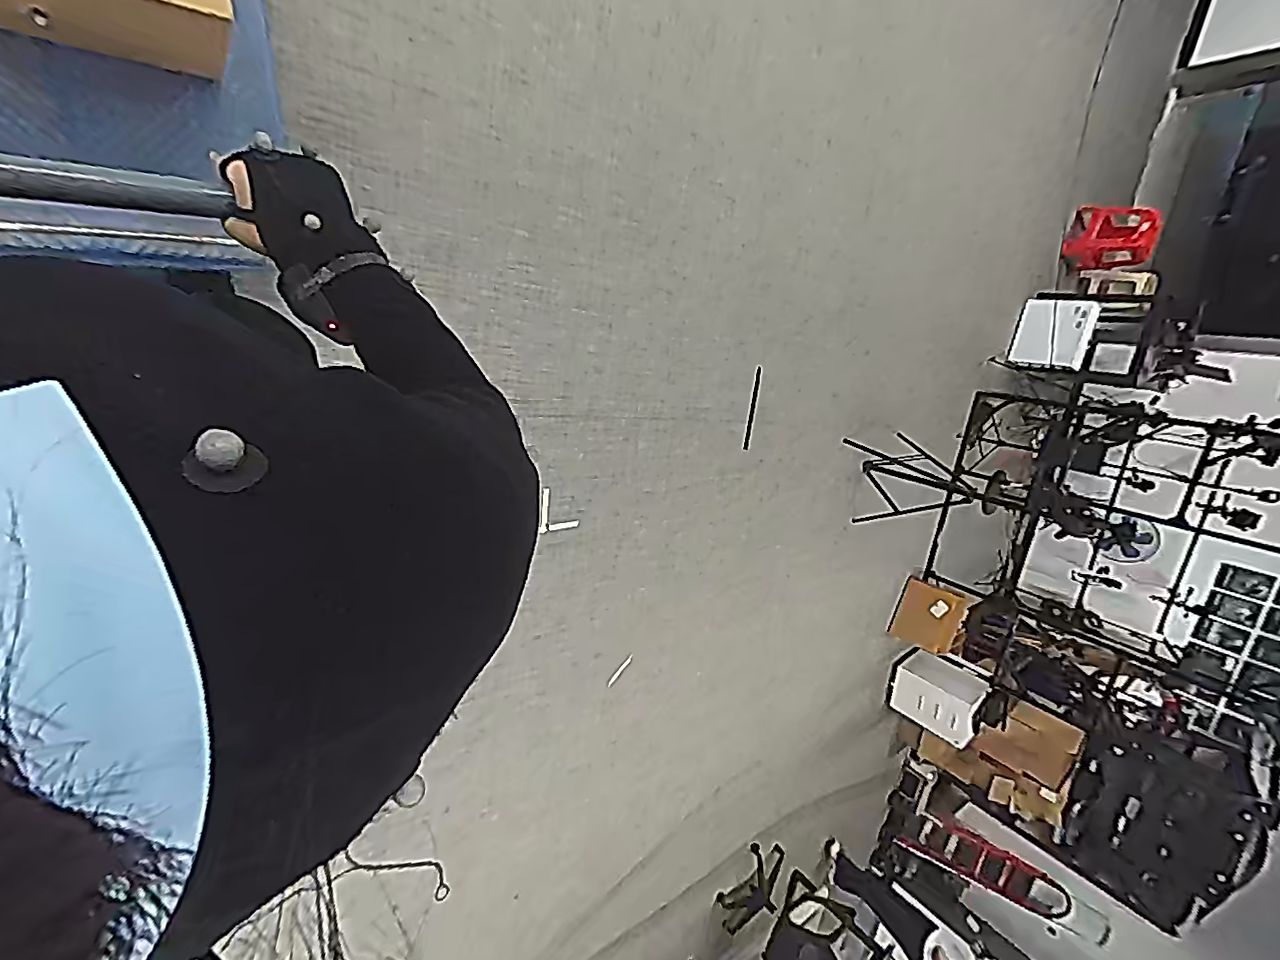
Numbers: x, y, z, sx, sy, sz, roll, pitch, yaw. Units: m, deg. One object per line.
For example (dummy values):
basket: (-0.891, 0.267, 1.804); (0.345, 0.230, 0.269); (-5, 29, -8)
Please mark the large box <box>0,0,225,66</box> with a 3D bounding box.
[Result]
large box: (-0.791, -0.775, 0.661); (0.408, 0.320, 0.320); (-11, 113, -37)
